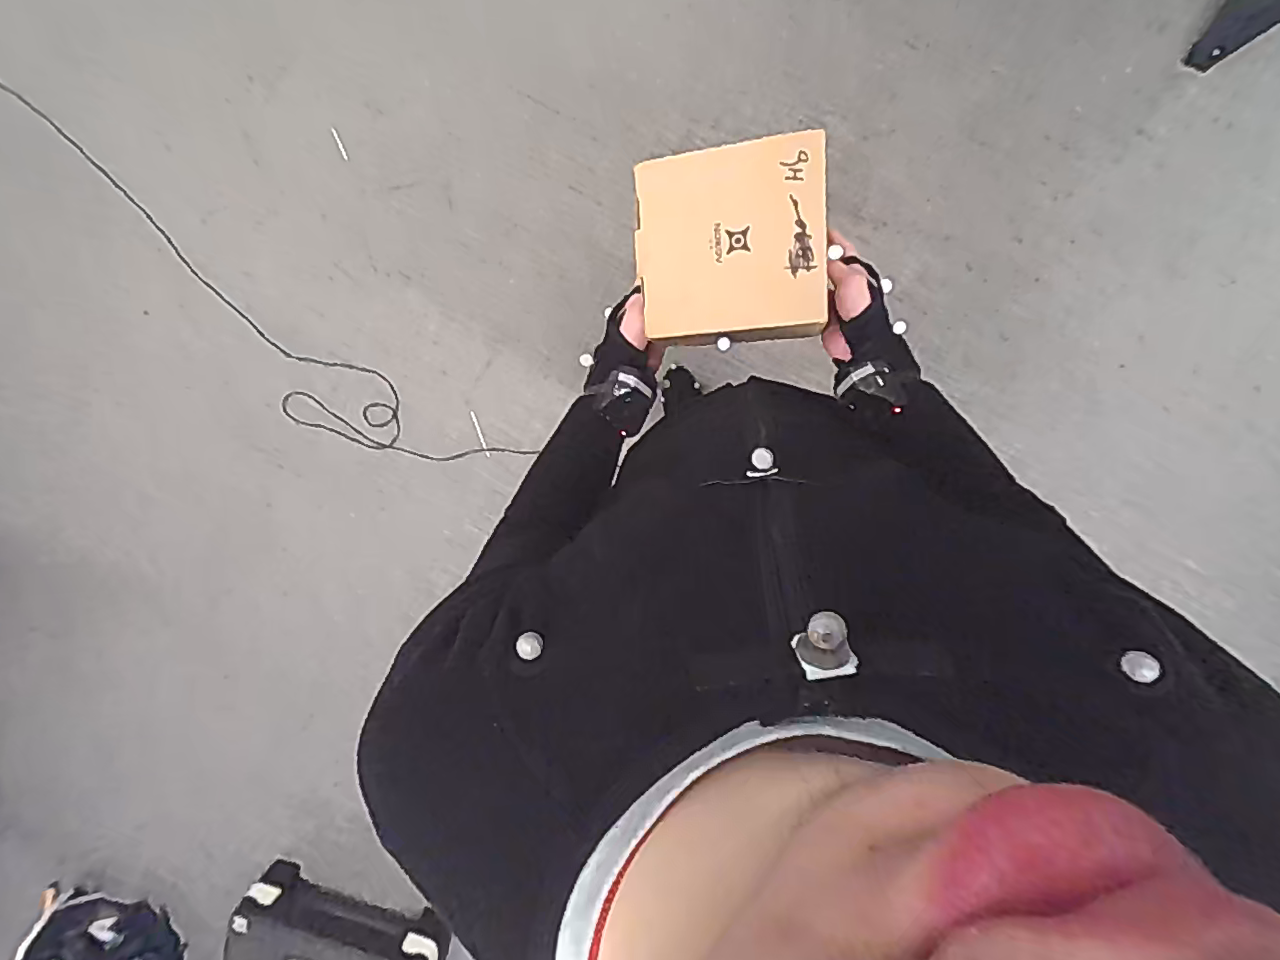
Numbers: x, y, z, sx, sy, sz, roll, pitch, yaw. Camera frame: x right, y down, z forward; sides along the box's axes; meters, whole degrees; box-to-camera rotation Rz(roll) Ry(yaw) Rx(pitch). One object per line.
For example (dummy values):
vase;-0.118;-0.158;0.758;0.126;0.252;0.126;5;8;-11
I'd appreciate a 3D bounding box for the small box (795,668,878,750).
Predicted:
small box;0.565;0.686;1.566;0.168;0.176;0.179;24;100;-1

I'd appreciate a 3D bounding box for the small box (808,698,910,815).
small box;0.556;0.710;1.404;0.168;0.176;0.179;24;101;0

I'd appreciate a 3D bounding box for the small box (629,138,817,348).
small box;0.099;-0.235;0.587;0.179;0.176;0.168;0;101;16
